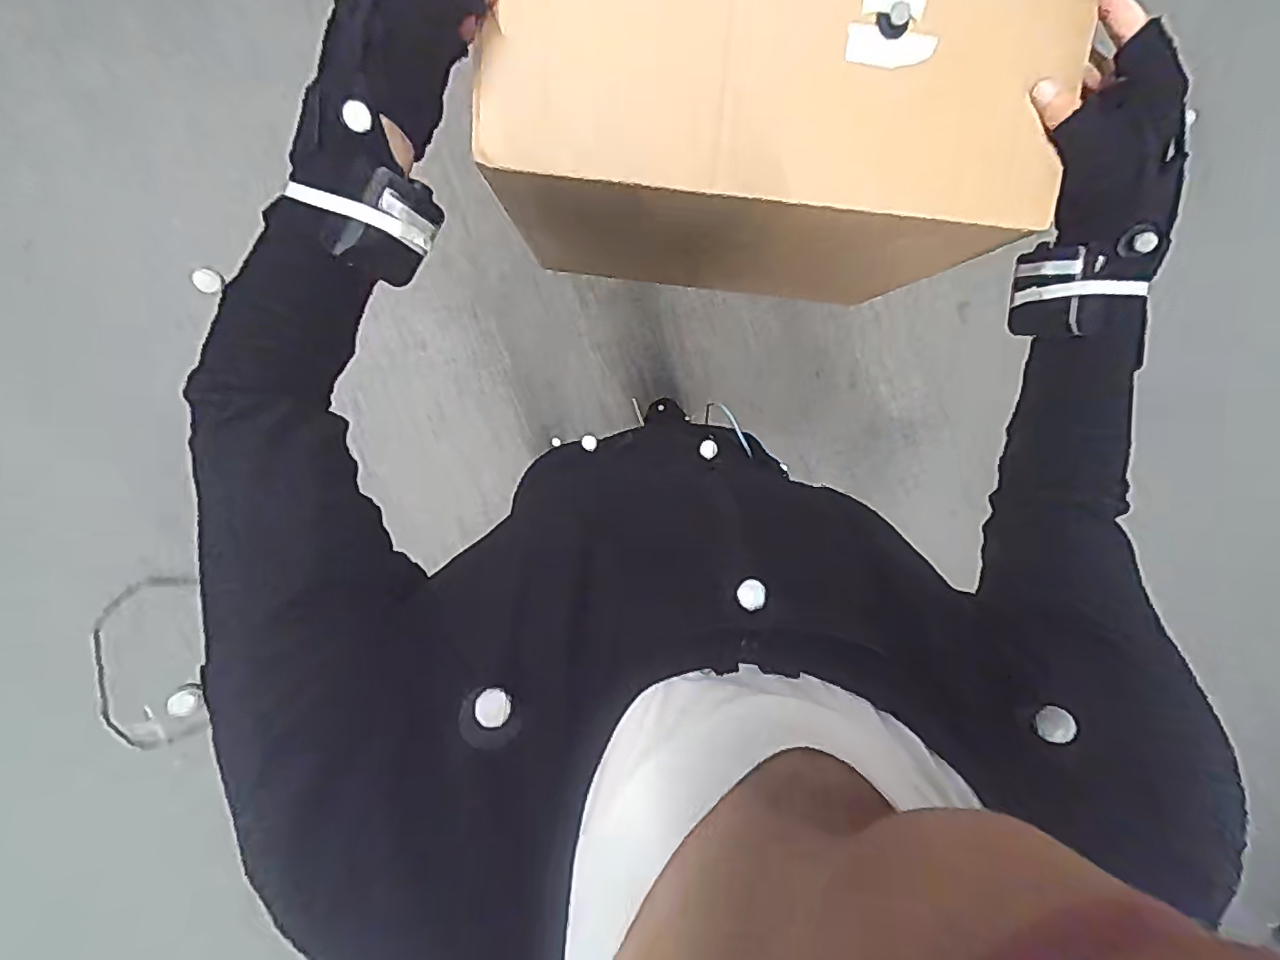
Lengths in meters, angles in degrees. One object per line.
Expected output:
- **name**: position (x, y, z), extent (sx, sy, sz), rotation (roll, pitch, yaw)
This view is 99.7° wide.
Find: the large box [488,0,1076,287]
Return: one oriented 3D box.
- **large box**: position (0.093, -0.382, 0.504), extent (0.408, 0.320, 0.320), rotation (4, 99, -4)
